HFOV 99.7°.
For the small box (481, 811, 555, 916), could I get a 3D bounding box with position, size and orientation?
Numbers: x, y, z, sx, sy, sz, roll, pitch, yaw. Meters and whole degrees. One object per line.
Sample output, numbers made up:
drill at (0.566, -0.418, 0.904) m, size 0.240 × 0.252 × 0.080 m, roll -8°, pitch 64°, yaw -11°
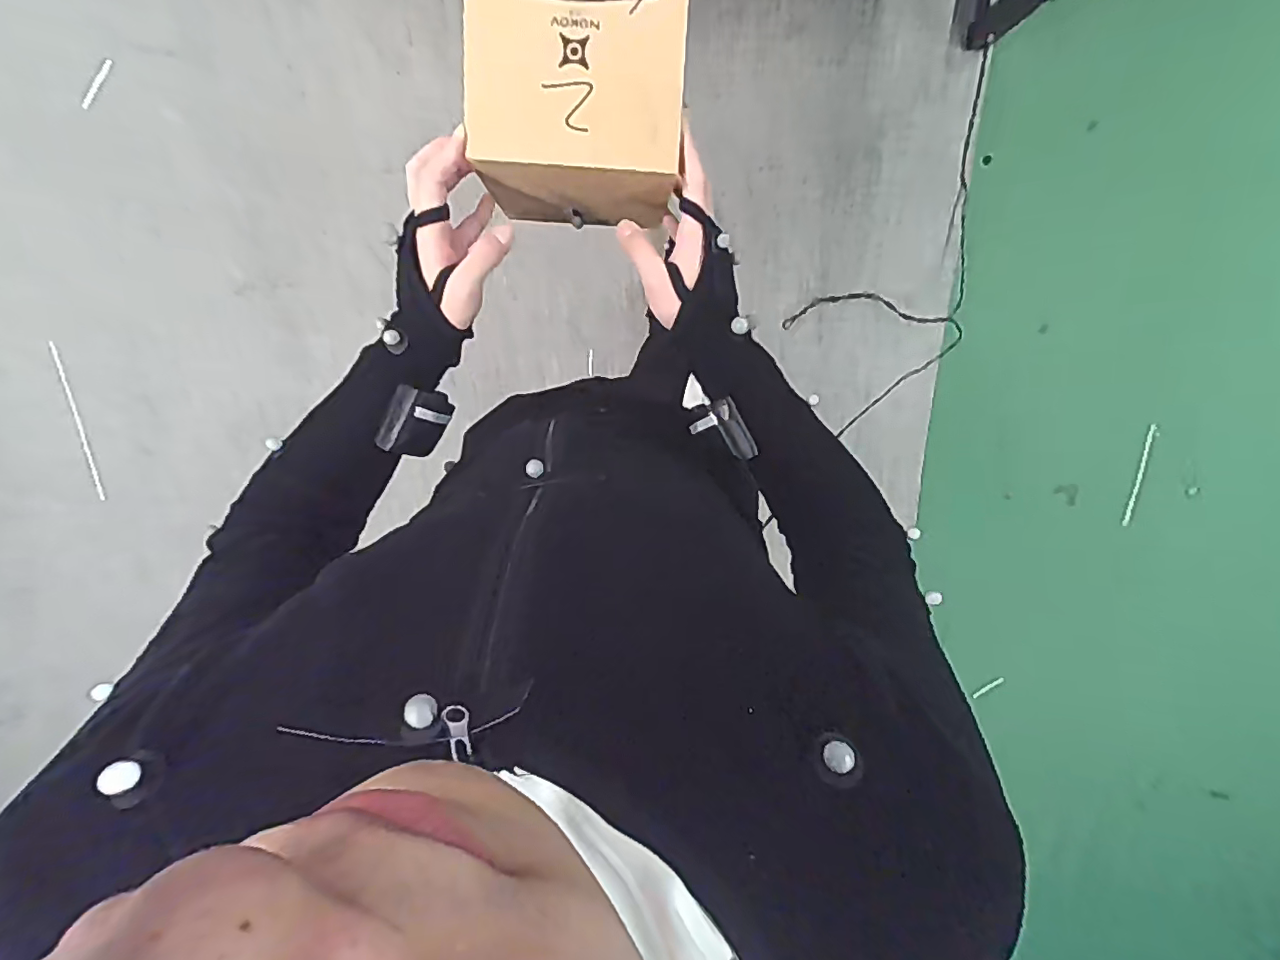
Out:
small box at (-0.343, 1.089, 1.547) m, size 0.168 × 0.176 × 0.179 m, roll 10°, pitch 105°, yaw -2°
